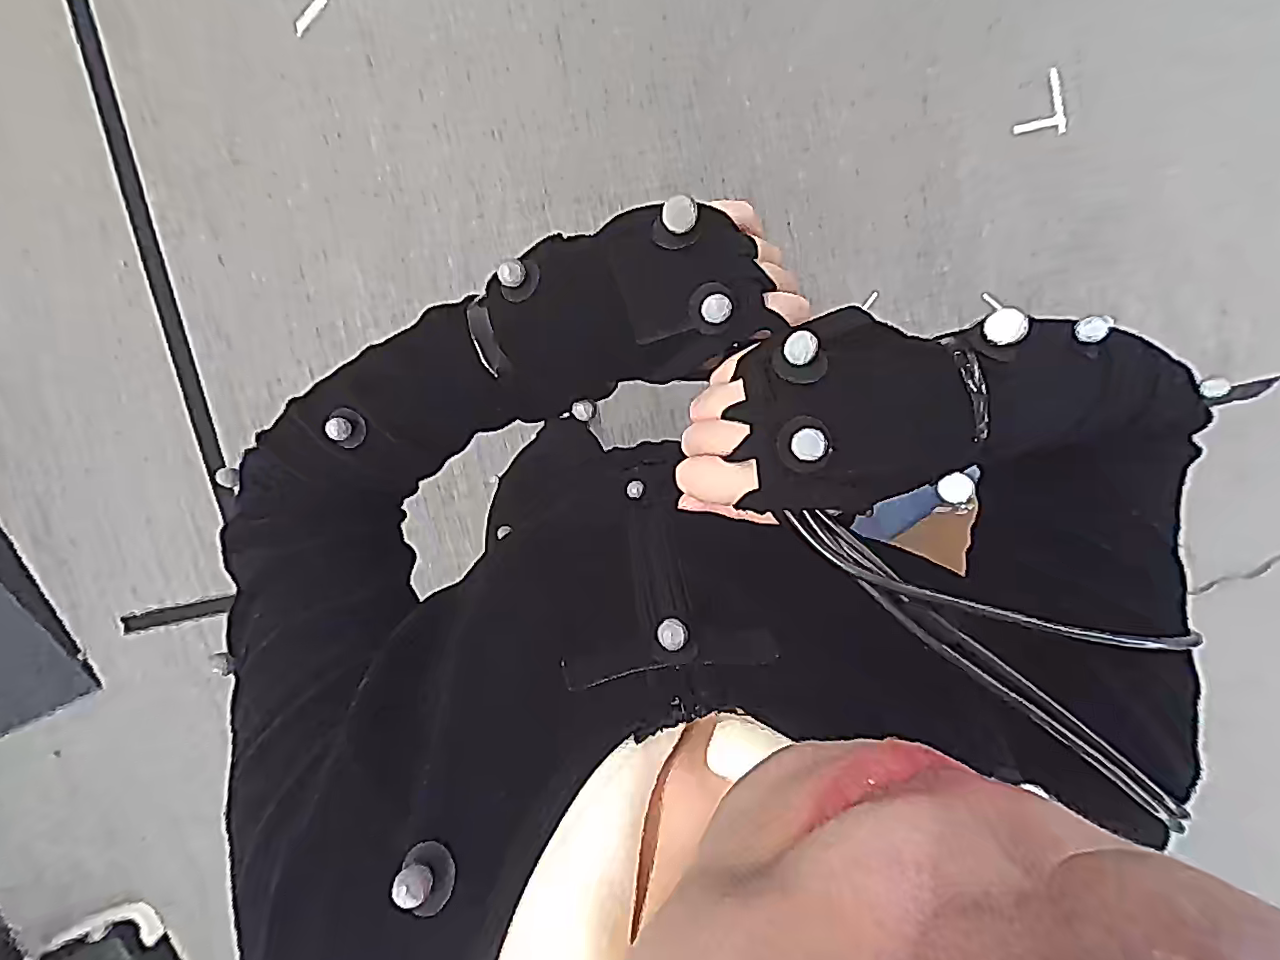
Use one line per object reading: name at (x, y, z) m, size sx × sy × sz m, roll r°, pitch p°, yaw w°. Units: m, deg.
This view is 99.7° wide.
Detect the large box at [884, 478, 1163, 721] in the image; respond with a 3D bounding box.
large box at (0.865, 0.250, 1.265) m, size 0.320 × 0.320 × 0.408 m, roll -33°, pitch 98°, yaw -1°
